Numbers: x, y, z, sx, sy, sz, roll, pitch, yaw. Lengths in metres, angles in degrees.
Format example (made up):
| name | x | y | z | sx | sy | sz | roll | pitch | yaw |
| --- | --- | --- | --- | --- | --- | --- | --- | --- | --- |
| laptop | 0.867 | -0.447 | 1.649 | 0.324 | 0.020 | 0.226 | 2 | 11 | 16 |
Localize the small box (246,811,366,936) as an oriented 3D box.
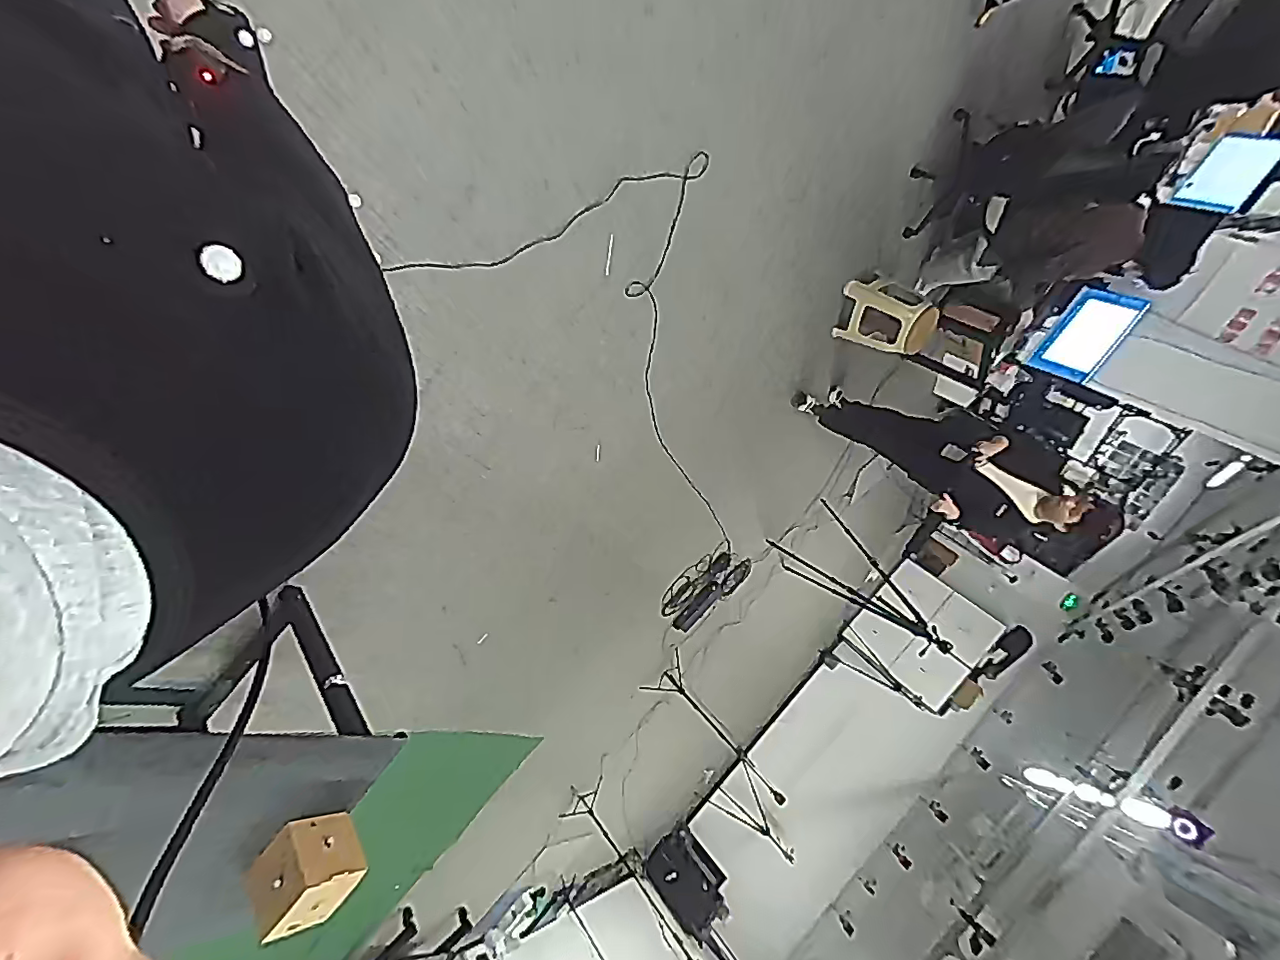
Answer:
| name | x | y | z | sx | sy | sz | roll | pitch | yaw |
| --- | --- | --- | --- | --- | --- | --- | --- | --- | --- |
| small box | -0.832 | 0.956 | 1.341 | 0.179 | 0.176 | 0.168 | -52 | 147 | 0 |
